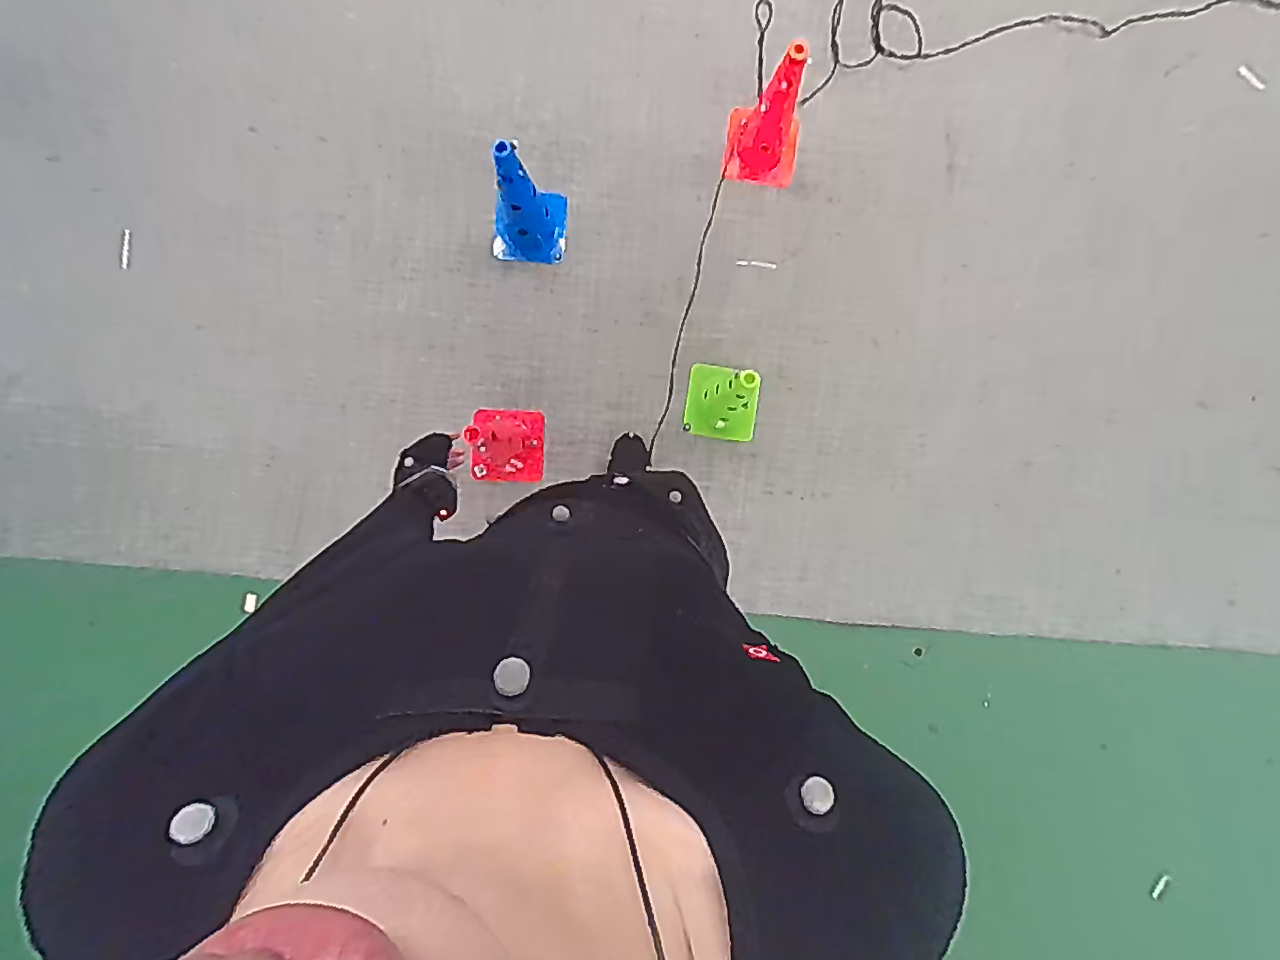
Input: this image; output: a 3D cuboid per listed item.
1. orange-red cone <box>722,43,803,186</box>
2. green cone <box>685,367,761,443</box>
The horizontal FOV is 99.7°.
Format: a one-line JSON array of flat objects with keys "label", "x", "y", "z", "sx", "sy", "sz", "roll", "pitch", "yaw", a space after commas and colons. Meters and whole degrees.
[{"label": "orange-red cone", "x": 0.341, "y": -0.938, "z": 1.358, "sx": 0.198, "sy": 0.360, "sz": 0.199, "roll": 9, "pitch": 91, "yaw": 0}, {"label": "green cone", "x": 0.238, "y": -0.214, "z": 1.344, "sx": 0.200, "sy": 0.368, "sz": 0.202, "roll": 7, "pitch": 88, "yaw": -1}]
